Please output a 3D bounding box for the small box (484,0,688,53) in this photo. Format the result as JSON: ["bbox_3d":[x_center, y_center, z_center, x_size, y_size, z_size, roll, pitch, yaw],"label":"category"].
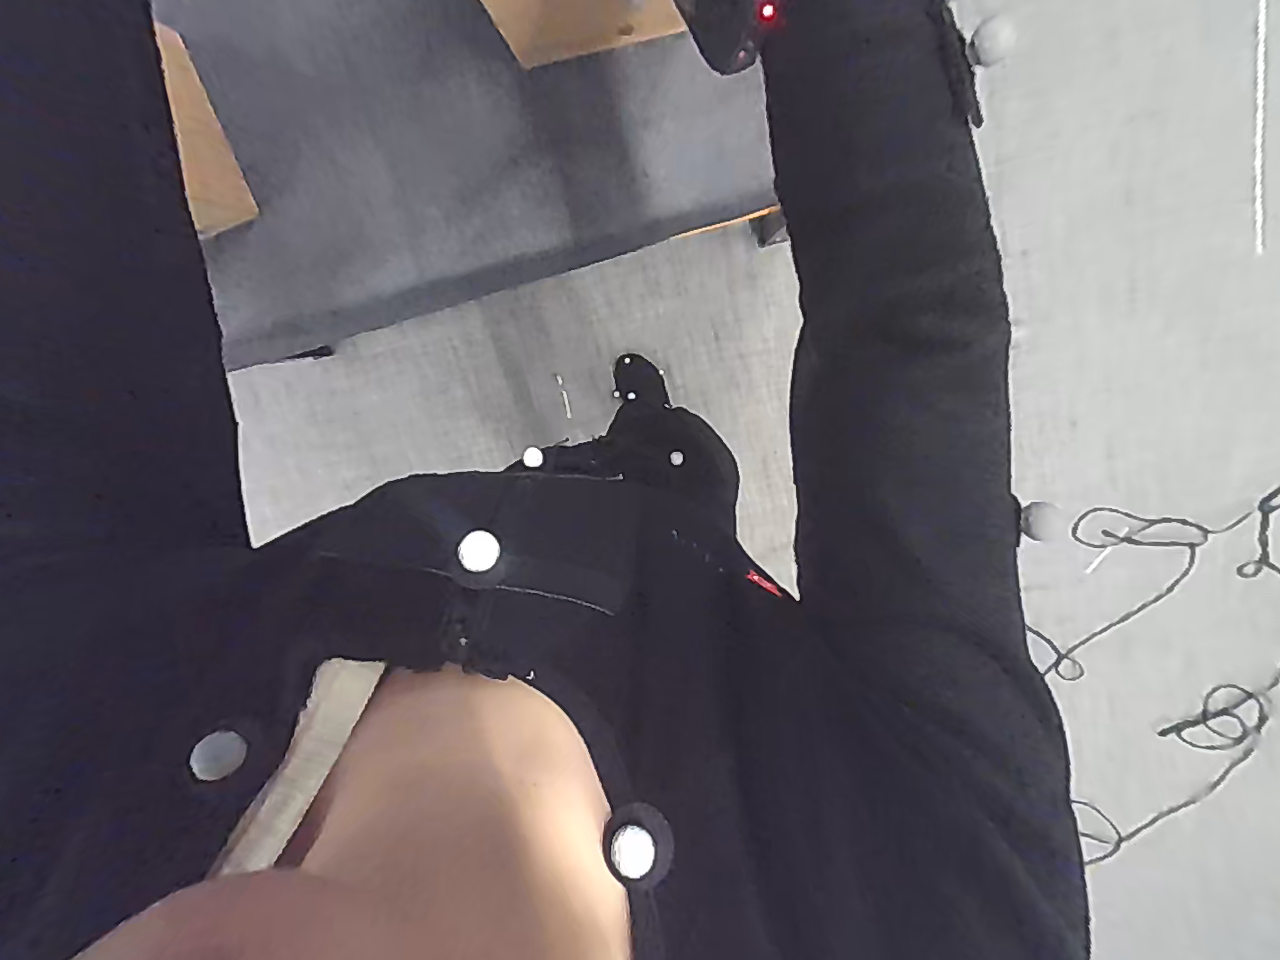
[{"bbox_3d":[-0.053,-0.464,0.408,0.168,0.176,0.179,-8,105,6],"label":"small box"}]

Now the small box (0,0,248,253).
[{"bbox_3d":[-0.511,-0.318,0.486,0.168,0.176,0.179,-16,103,8],"label":"small box"}]
